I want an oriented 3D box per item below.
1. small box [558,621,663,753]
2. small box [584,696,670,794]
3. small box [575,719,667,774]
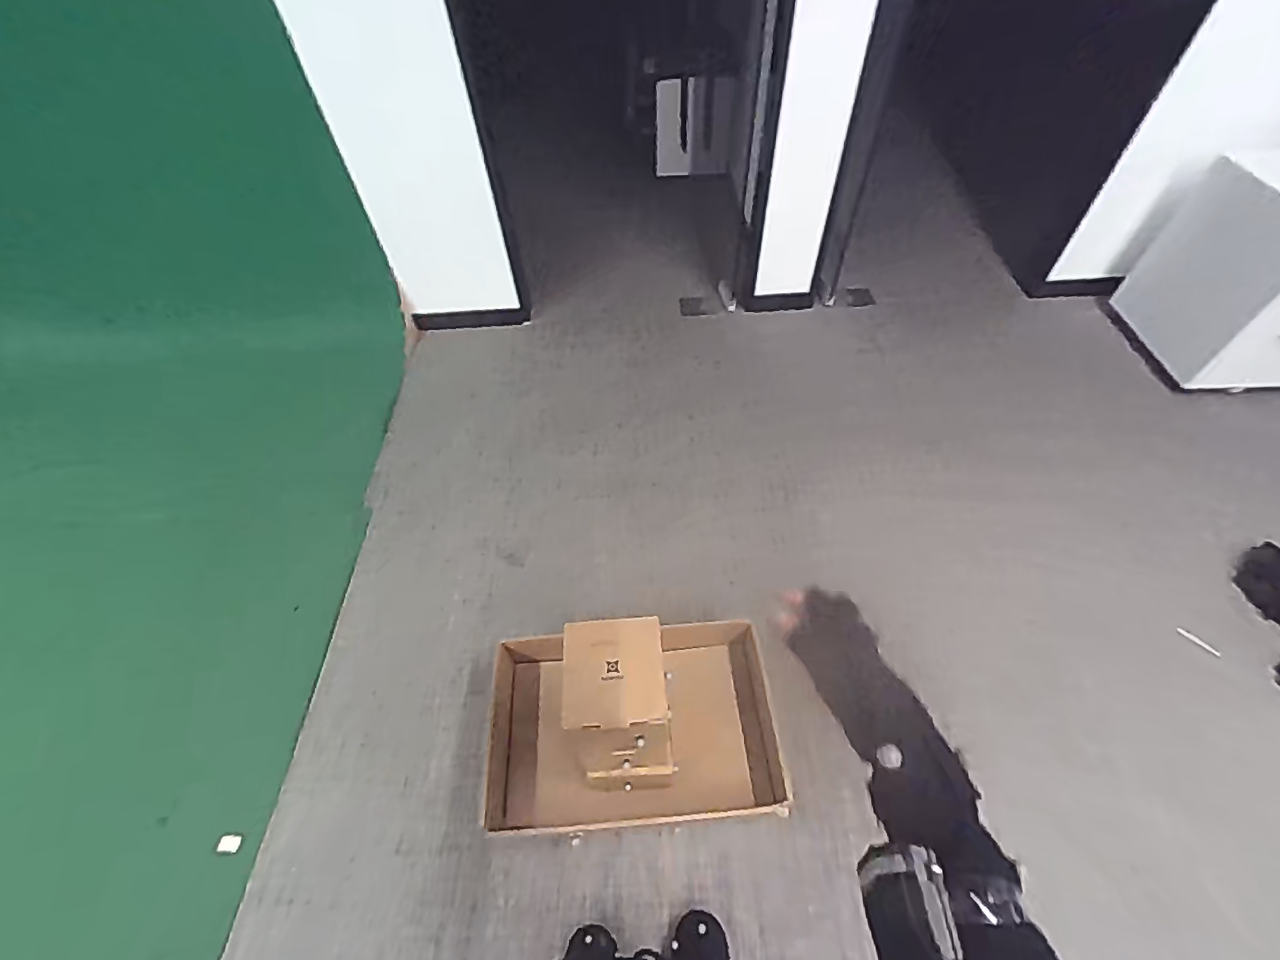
[{"bbox_3d":[-0.047,0.368,0.948,0.168,0.176,0.179,-4,50,-1],"label":"small box"},{"bbox_3d":[-0.024,0.593,1.205,0.179,0.176,0.168,-3,50,2],"label":"small box"},{"bbox_3d":[-0.039,0.480,1.091,0.168,0.176,0.179,-7,51,-1],"label":"small box"}]
